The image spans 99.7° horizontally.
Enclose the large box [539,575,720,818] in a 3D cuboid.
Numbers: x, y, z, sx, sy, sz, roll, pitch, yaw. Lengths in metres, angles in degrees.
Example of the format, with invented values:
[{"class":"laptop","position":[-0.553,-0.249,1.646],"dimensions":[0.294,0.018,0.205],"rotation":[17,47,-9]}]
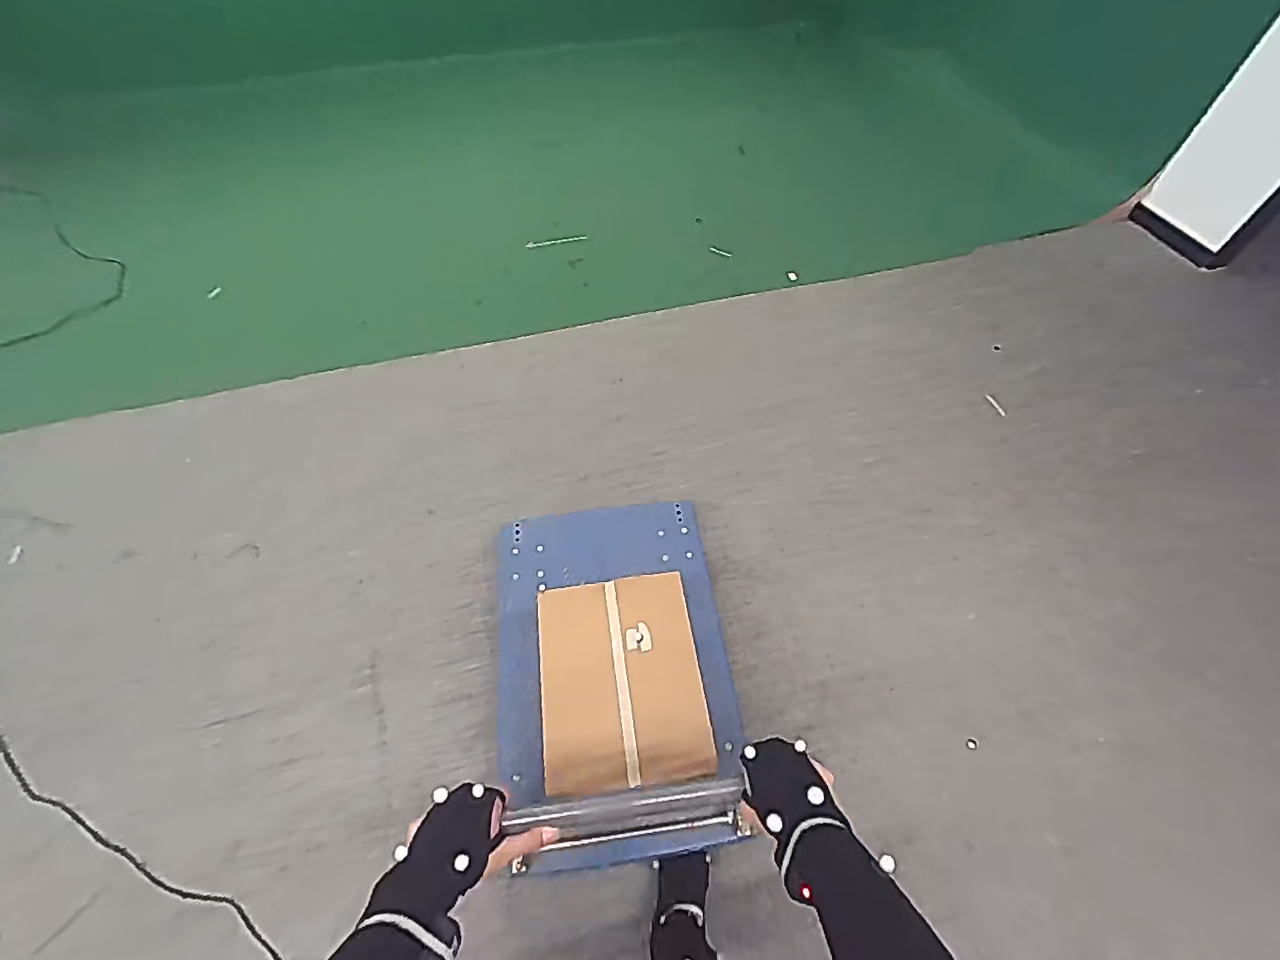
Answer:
[{"class":"large box","position":[-0.034,0.474,1.185],"dimensions":[0.320,0.320,0.408],"rotation":[-7,55,-5]}]
